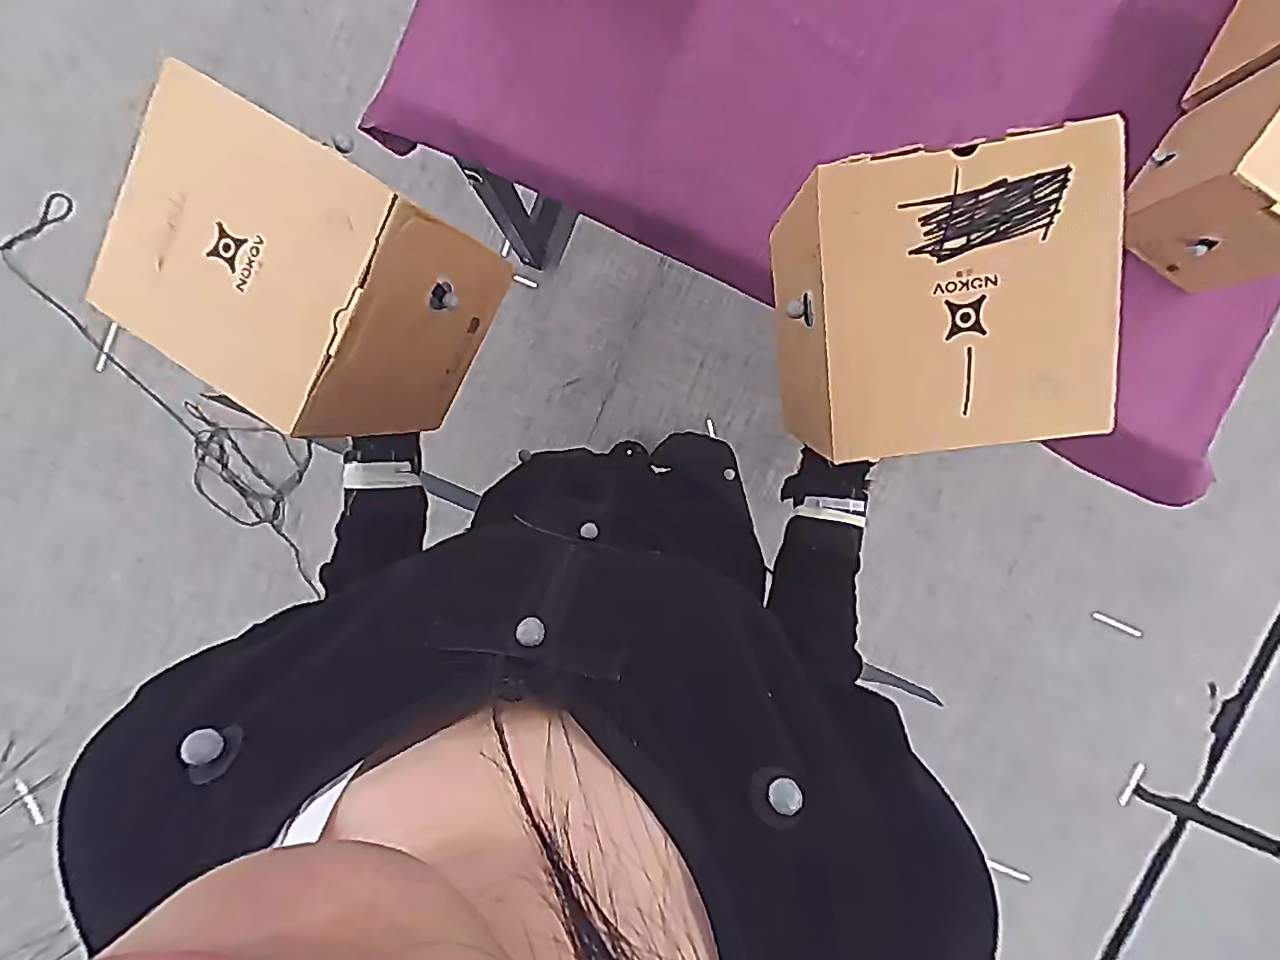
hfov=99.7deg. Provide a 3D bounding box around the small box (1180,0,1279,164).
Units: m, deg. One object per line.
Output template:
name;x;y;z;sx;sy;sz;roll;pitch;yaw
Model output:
small box;0.821;-0.528;0.642;0.168;0.176;0.179;27;93;-4

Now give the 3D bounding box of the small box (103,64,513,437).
small box;-0.227;-0.149;0.411;0.179;0.176;0.168;32;101;6

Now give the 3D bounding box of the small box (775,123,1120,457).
small box;0.200;-0.122;0.400;0.168;0.176;0.179;-7;102;6
